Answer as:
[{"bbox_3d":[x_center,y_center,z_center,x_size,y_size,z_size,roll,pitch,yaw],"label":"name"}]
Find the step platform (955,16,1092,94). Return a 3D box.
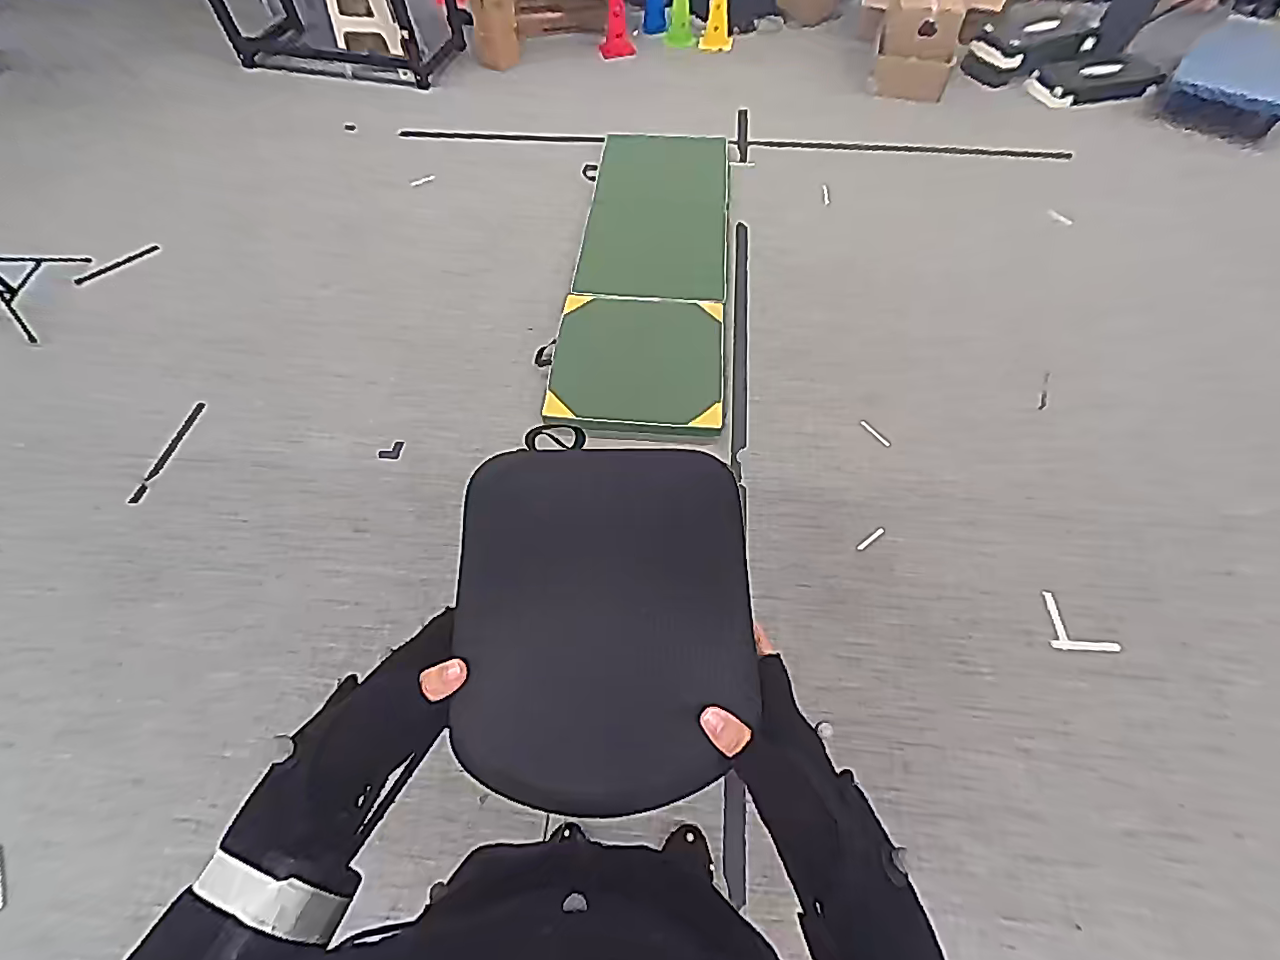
[{"bbox_3d":[2.165,-2.405,3.052,0.684,0.204,0.286,-21,61,-12],"label":"step platform"}]
